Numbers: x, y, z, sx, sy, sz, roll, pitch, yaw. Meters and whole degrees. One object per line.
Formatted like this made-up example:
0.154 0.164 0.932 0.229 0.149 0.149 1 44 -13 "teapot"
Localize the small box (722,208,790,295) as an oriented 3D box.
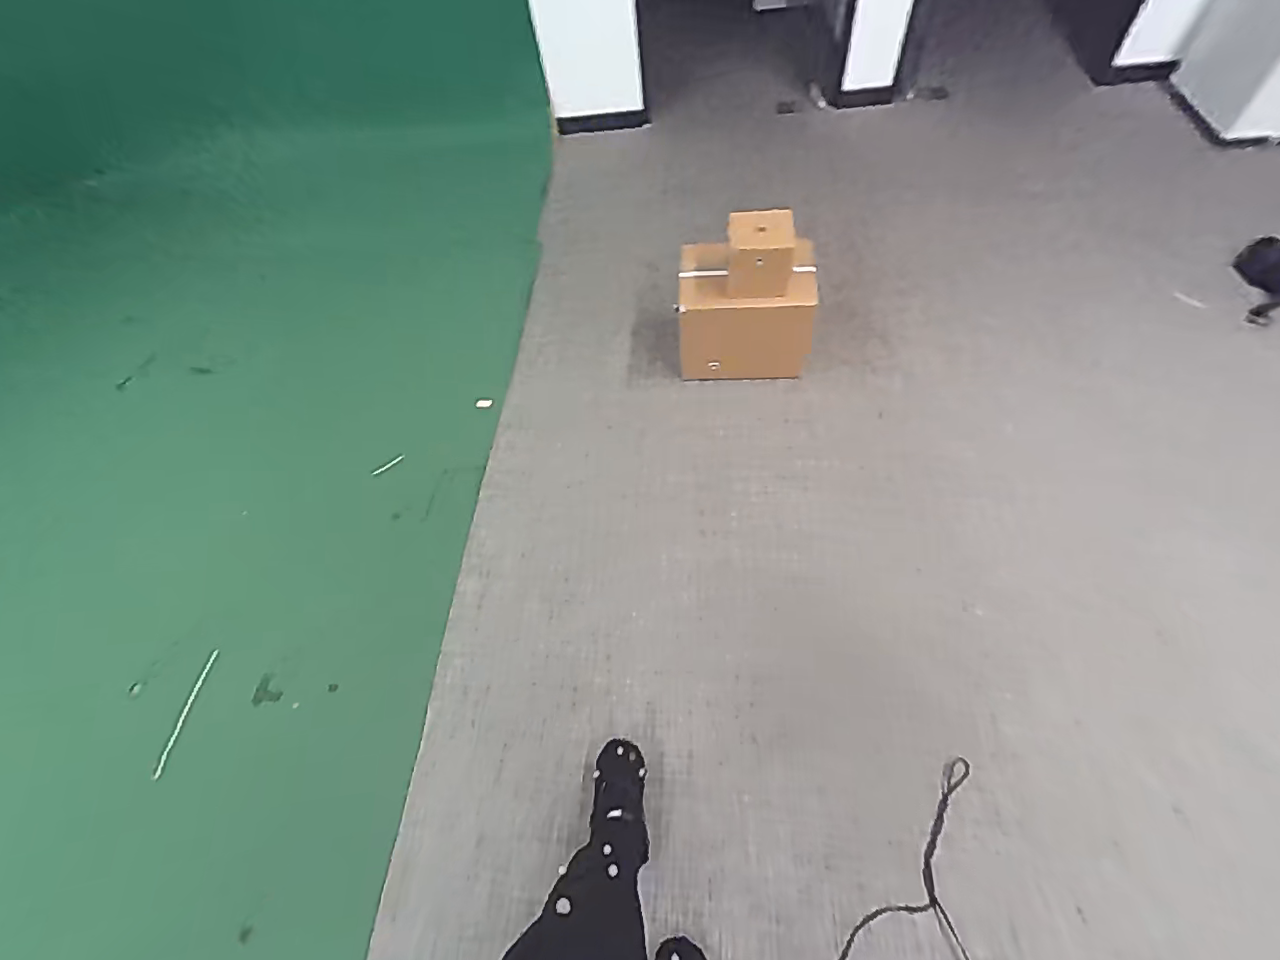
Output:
0.326 -0.650 1.551 0.179 0.176 0.168 0 60 7 "small box"
